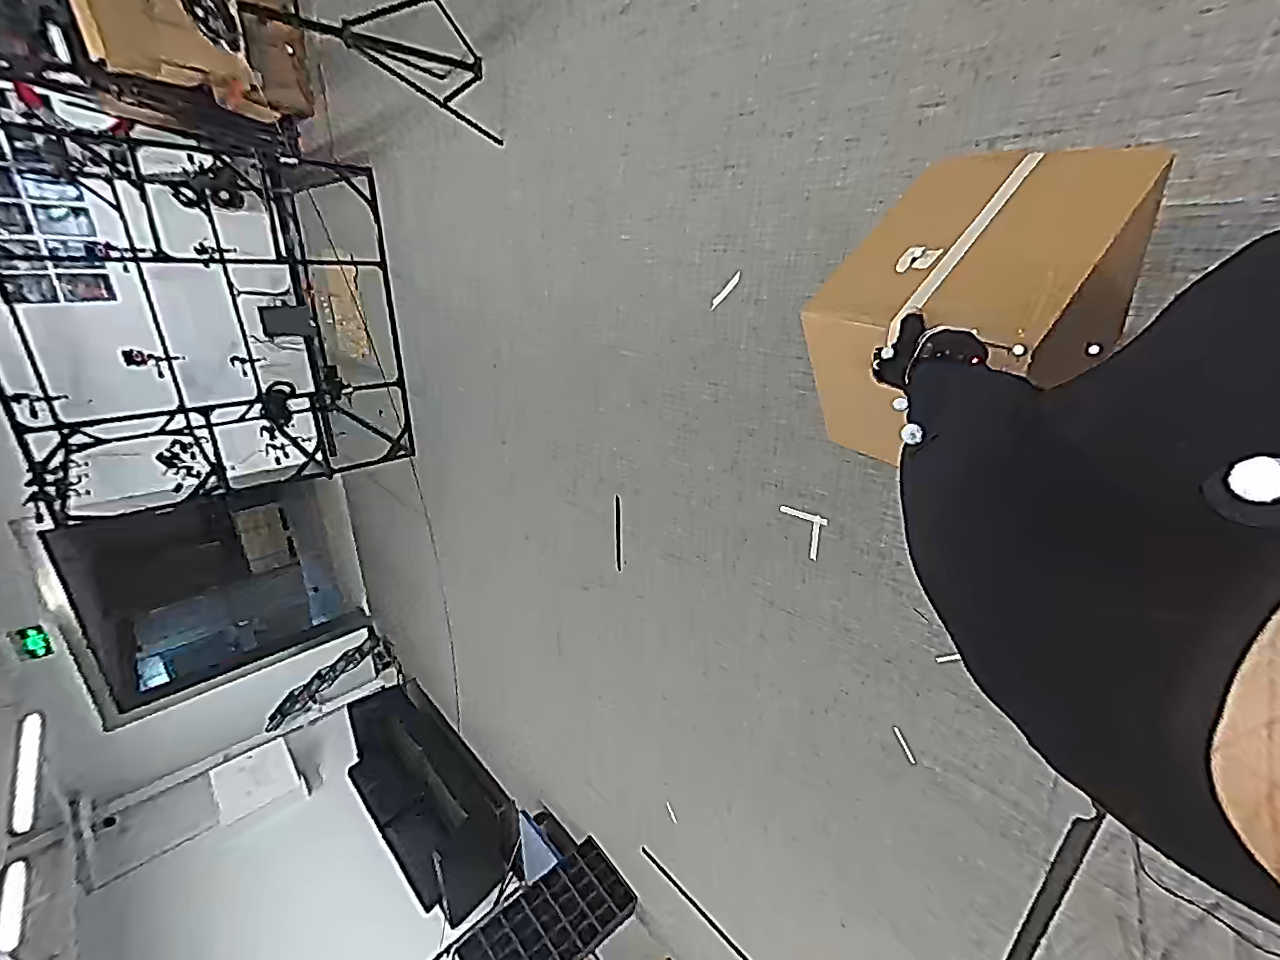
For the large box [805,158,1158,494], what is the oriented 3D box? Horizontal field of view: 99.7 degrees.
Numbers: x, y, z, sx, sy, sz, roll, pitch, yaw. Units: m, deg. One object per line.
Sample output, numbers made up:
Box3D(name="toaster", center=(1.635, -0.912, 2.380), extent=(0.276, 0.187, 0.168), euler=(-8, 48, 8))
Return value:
Box3D(name="large box", center=(0.537, -0.257, 0.887), extent=(0.320, 0.408, 0.320), euler=(29, 163, 43))
